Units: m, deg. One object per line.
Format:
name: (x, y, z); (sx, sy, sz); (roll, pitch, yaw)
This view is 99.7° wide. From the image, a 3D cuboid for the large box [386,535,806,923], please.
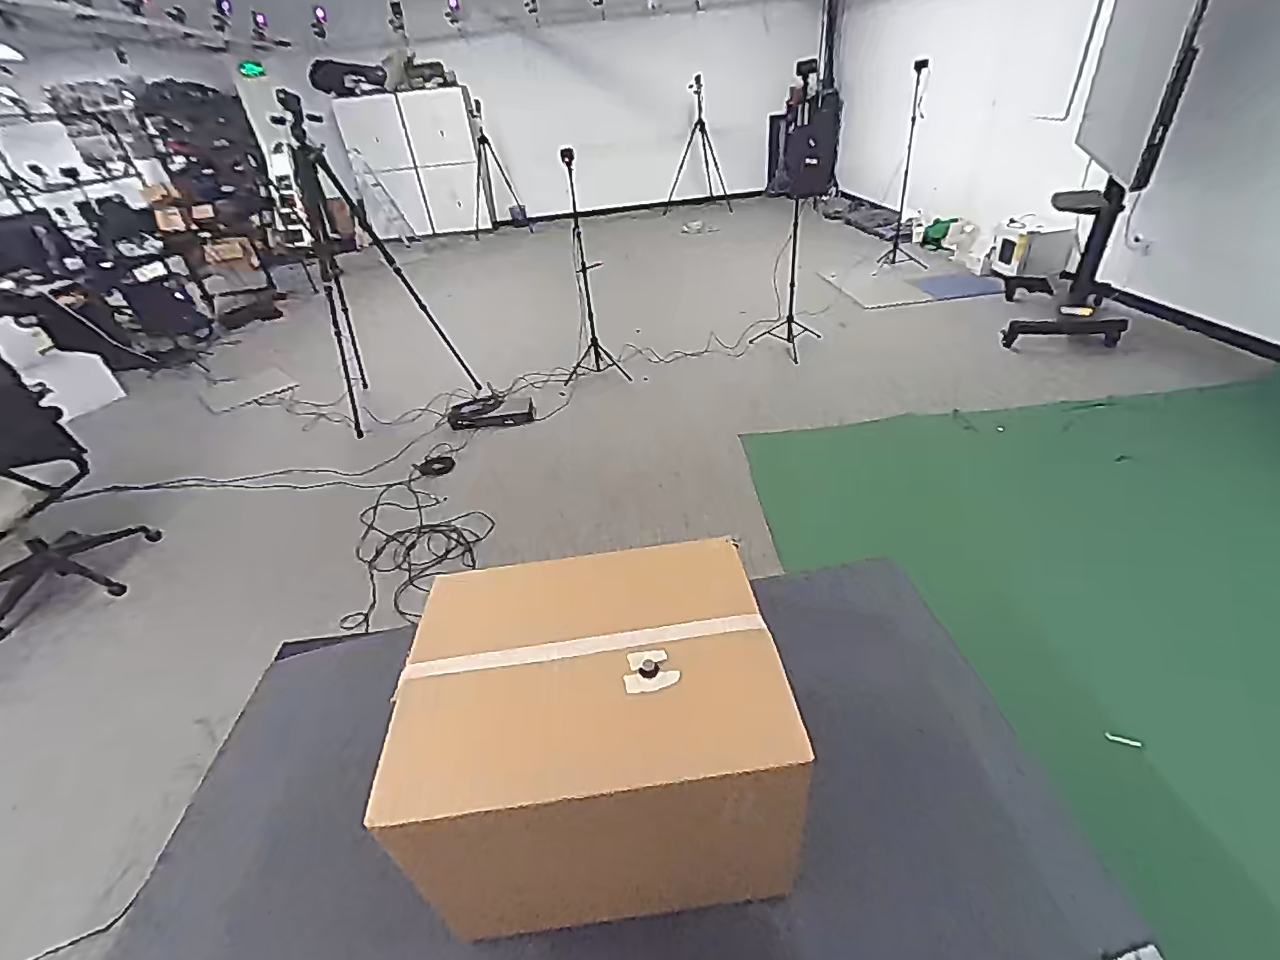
large box: (-0.043, 0.310, 0.704); (0.408, 0.320, 0.320); (-7, 36, -2)
